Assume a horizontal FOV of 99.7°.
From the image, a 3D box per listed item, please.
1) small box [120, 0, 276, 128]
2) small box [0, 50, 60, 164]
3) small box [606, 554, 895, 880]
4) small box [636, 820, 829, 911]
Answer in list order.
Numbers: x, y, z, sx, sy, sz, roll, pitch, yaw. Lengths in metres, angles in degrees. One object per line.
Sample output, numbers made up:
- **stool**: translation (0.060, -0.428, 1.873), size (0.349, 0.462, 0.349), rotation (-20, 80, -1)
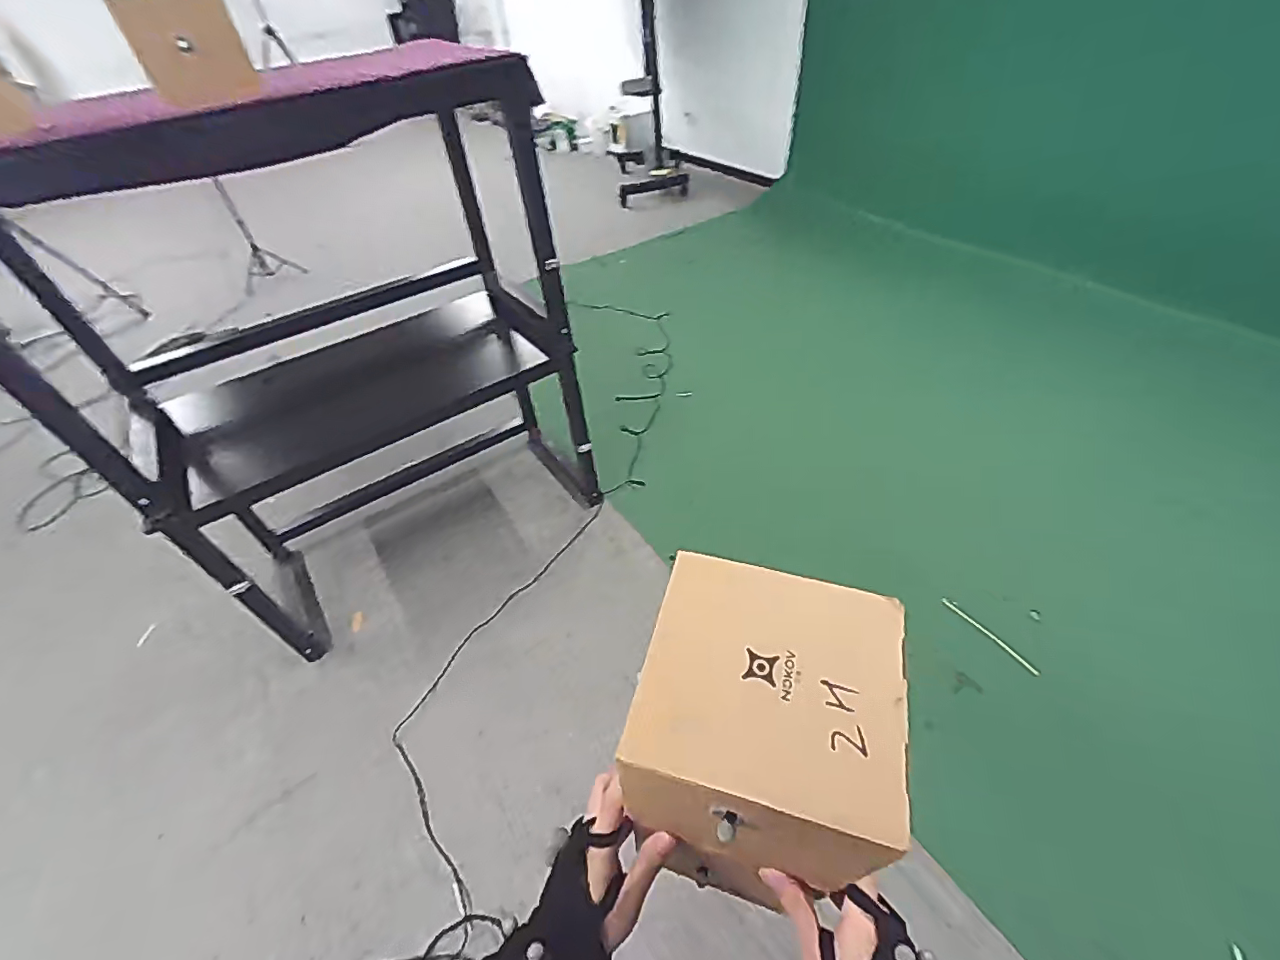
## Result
- **small box**: translation (-0.831, -0.799, 1.036), size (0.179, 0.176, 0.168), rotation (-28, 47, -19)
- **small box**: translation (-1.126, -0.628, 0.895), size (0.168, 0.176, 0.179), rotation (-30, 48, -22)
- **small box**: translation (0.086, 0.188, 0.430), size (0.179, 0.176, 0.168), rotation (11, 48, 13)
- **small box**: translation (0.095, 0.300, 0.551), size (0.168, 0.176, 0.179), rotation (12, 48, 13)
